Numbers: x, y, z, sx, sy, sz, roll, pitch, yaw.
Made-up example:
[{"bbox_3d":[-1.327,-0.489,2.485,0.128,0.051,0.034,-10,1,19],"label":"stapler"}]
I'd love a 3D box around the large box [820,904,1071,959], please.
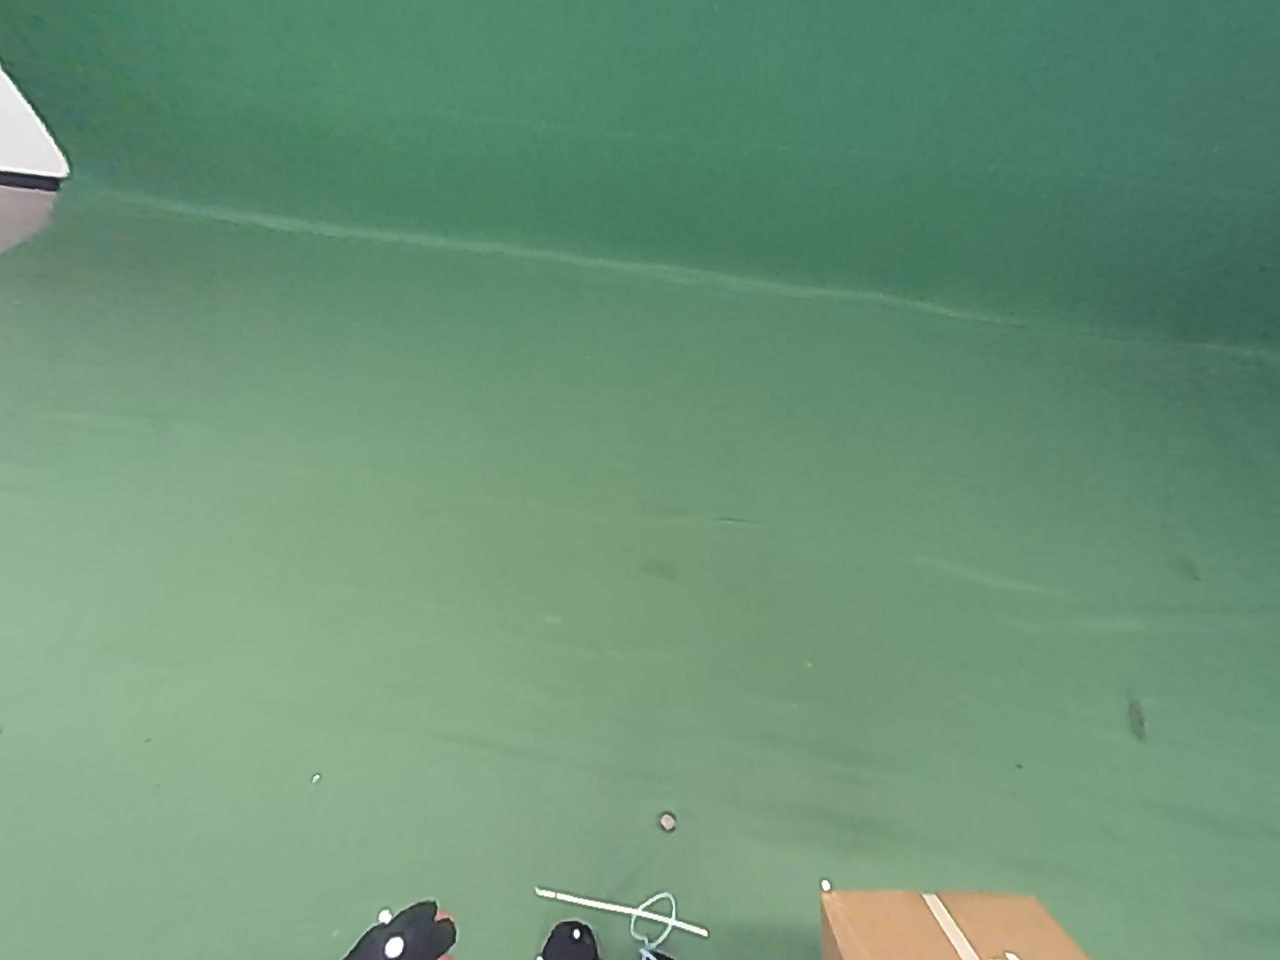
[{"bbox_3d":[0.415,0.782,0.600,0.320,0.408,0.320,0,89,3],"label":"large box"}]
